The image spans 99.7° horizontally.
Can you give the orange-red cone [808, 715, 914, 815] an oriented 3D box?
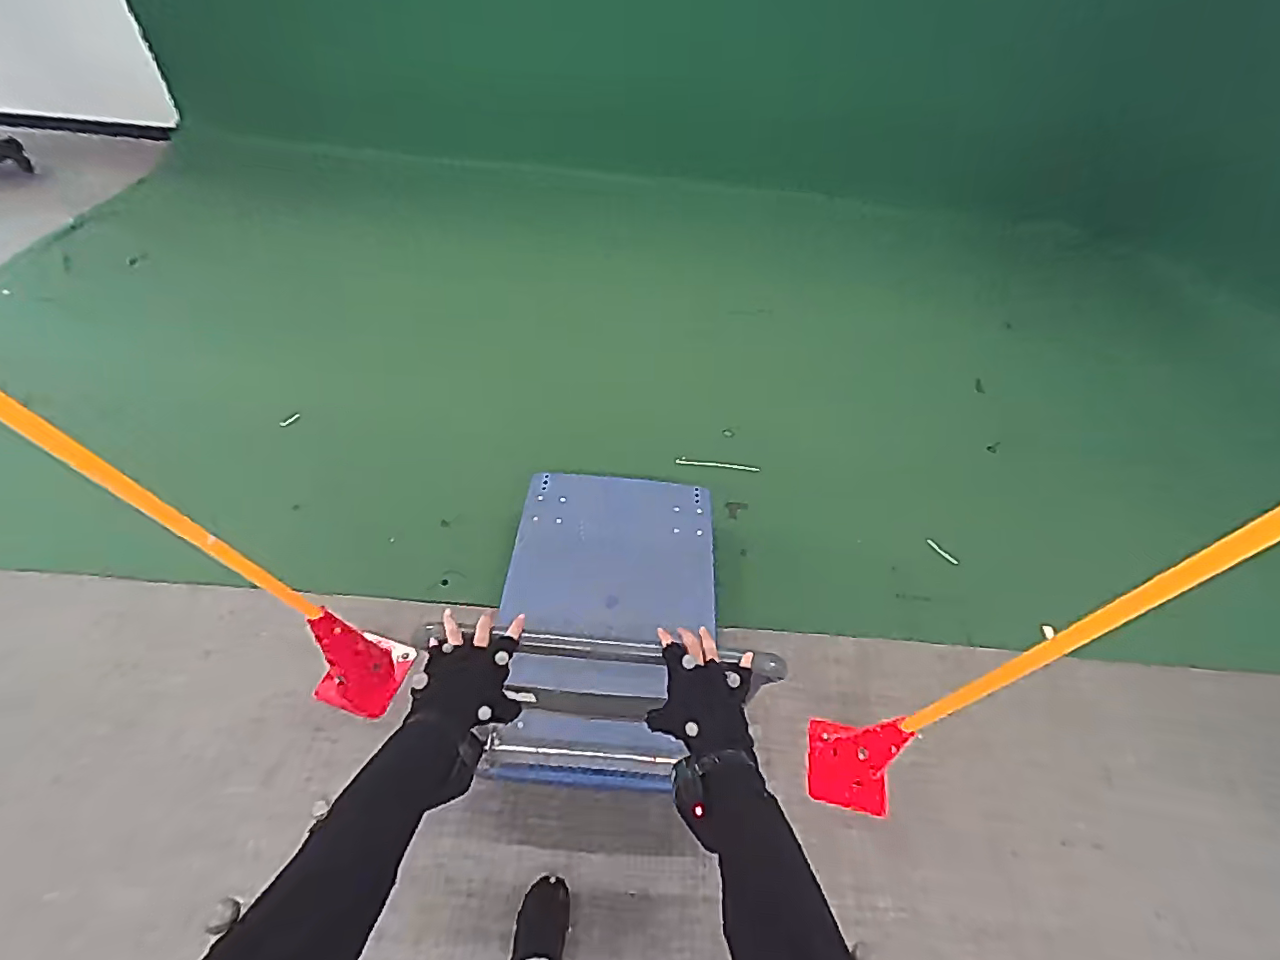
[{"bbox_3d":[0.546,0.624,1.262,0.198,0.360,0.199,13,51,7],"label":"orange-red cone"}]
